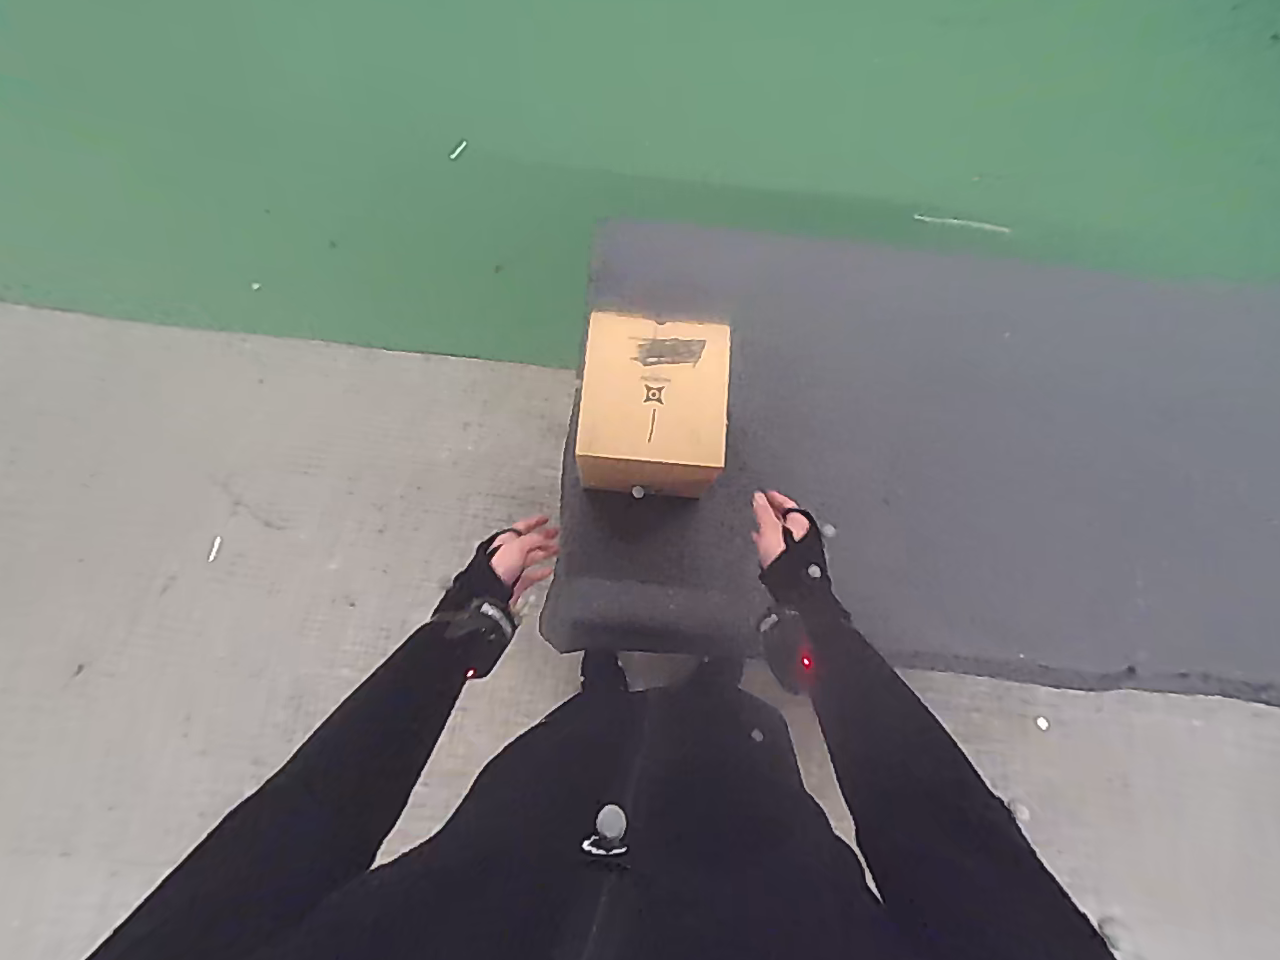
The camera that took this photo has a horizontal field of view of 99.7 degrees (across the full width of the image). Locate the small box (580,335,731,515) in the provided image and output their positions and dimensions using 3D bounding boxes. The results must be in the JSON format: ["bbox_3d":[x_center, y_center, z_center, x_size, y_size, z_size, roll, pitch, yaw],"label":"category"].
[{"bbox_3d":[0.016,-0.062,0.694,0.168,0.176,0.179,4,76,-2],"label":"small box"}]
